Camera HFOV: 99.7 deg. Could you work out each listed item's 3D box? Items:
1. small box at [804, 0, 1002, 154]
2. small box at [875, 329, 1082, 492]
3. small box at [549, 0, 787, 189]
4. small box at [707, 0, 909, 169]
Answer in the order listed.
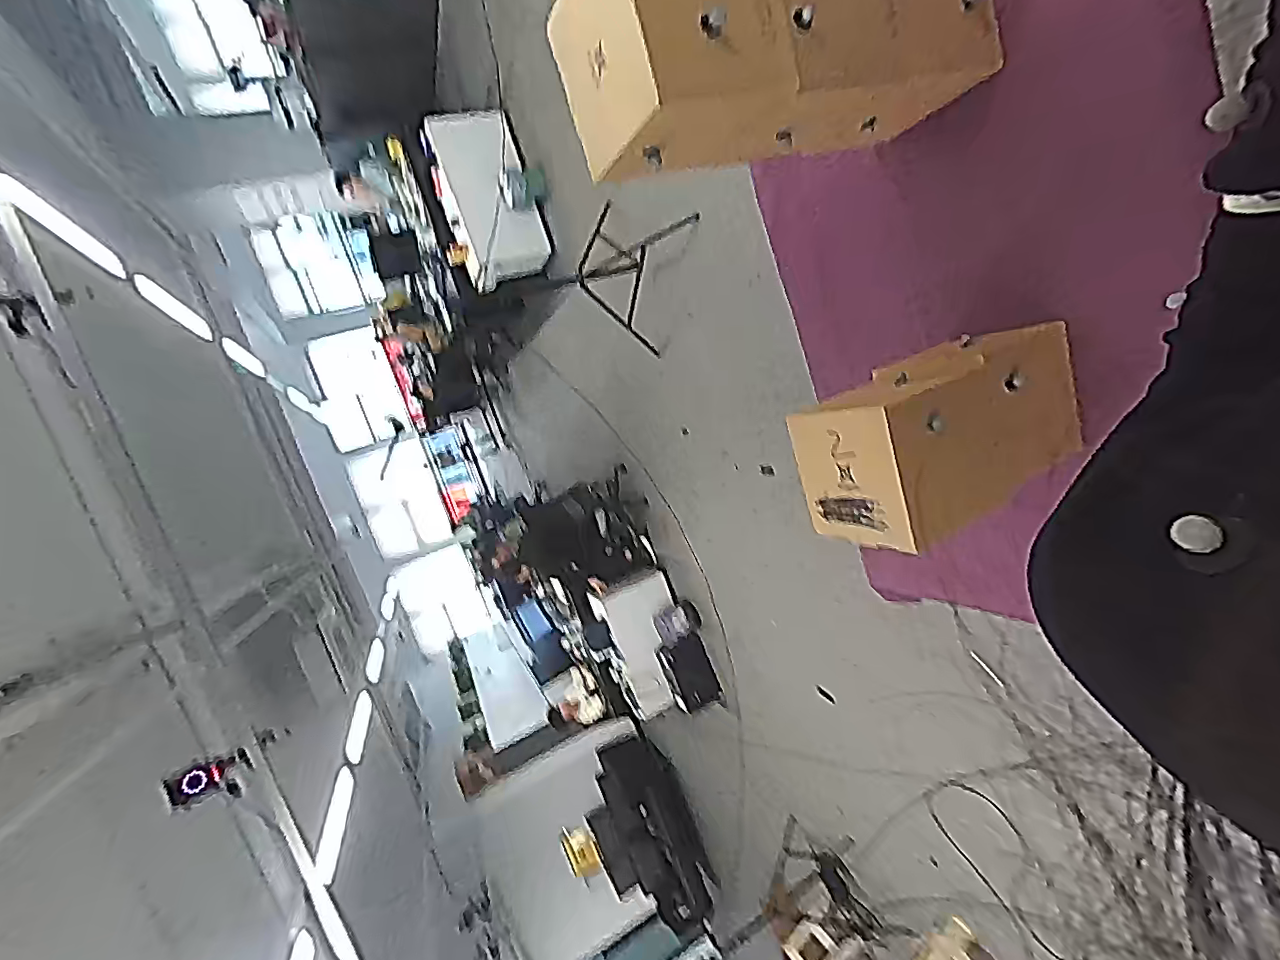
[{"bbox_3d":[0.309,-0.546,0.684,0.179,0.176,0.168,6,117,66],"label":"small box"},{"bbox_3d":[0.463,-0.099,0.746,0.168,0.176,0.179,9,119,67],"label":"small box"},{"bbox_3d":[0.030,-0.432,0.557,0.179,0.176,0.168,11,121,66],"label":"small box"},{"bbox_3d":[0.169,-0.489,0.621,0.179,0.176,0.168,12,122,66],"label":"small box"}]
